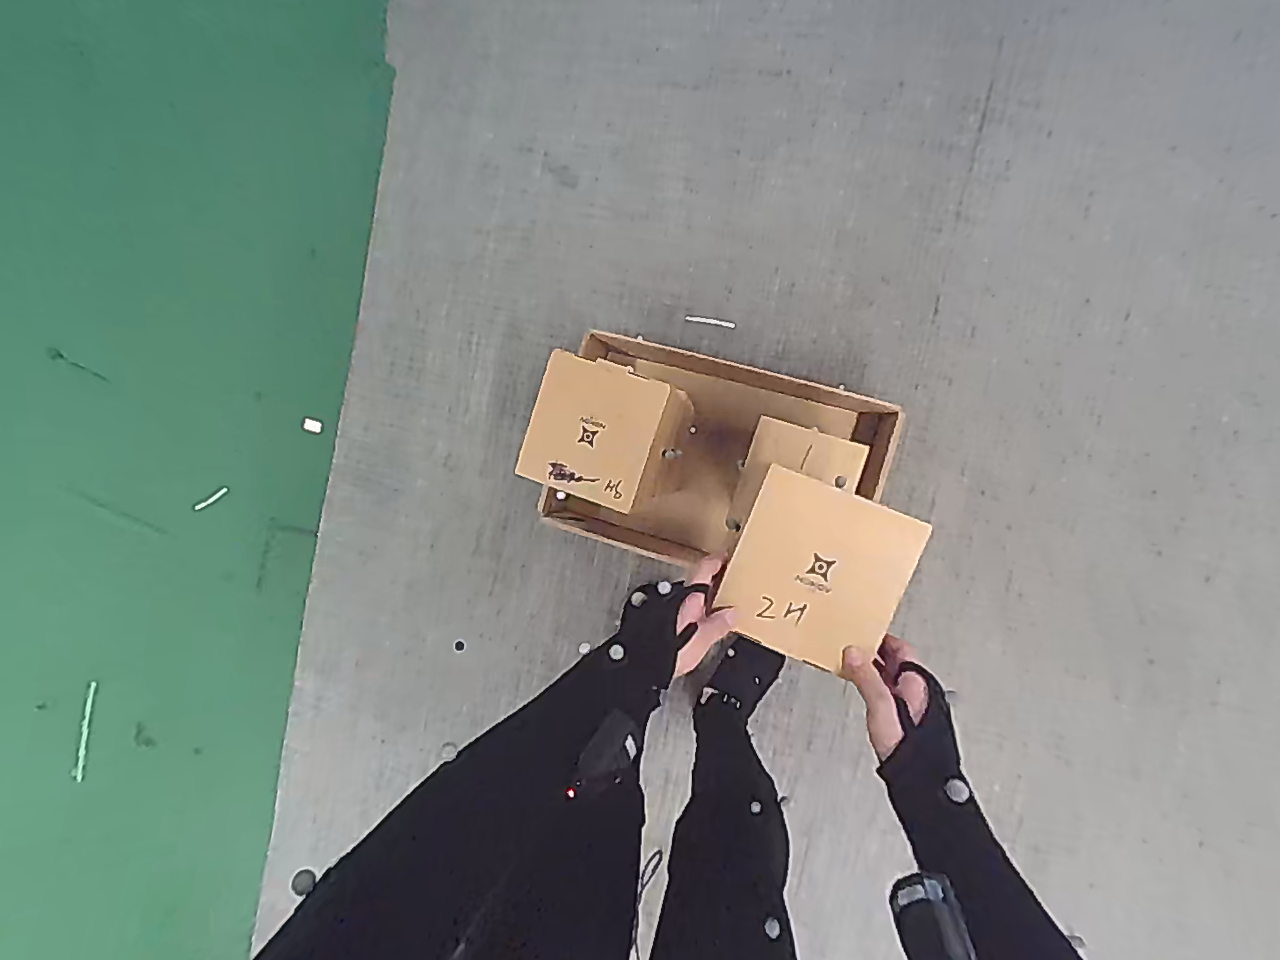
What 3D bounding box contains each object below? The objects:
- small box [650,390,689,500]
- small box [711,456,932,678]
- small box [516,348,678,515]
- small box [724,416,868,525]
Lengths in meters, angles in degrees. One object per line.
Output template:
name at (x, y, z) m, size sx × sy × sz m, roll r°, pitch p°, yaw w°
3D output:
small box at (-0.017, -0.075, 0.931) m, size 0.168 × 0.176 × 0.179 m, roll 17°, pitch 93°, yaw 9°
small box at (0.184, 0.082, 0.610) m, size 0.168 × 0.176 × 0.179 m, roll 23°, pitch 95°, yaw 6°
small box at (-0.049, -0.063, 0.770) m, size 0.168 × 0.176 × 0.179 m, roll 20°, pitch 93°, yaw 9°
small box at (0.248, 0.011, 0.881) m, size 0.168 × 0.176 × 0.179 m, roll 19°, pitch 93°, yaw 11°
